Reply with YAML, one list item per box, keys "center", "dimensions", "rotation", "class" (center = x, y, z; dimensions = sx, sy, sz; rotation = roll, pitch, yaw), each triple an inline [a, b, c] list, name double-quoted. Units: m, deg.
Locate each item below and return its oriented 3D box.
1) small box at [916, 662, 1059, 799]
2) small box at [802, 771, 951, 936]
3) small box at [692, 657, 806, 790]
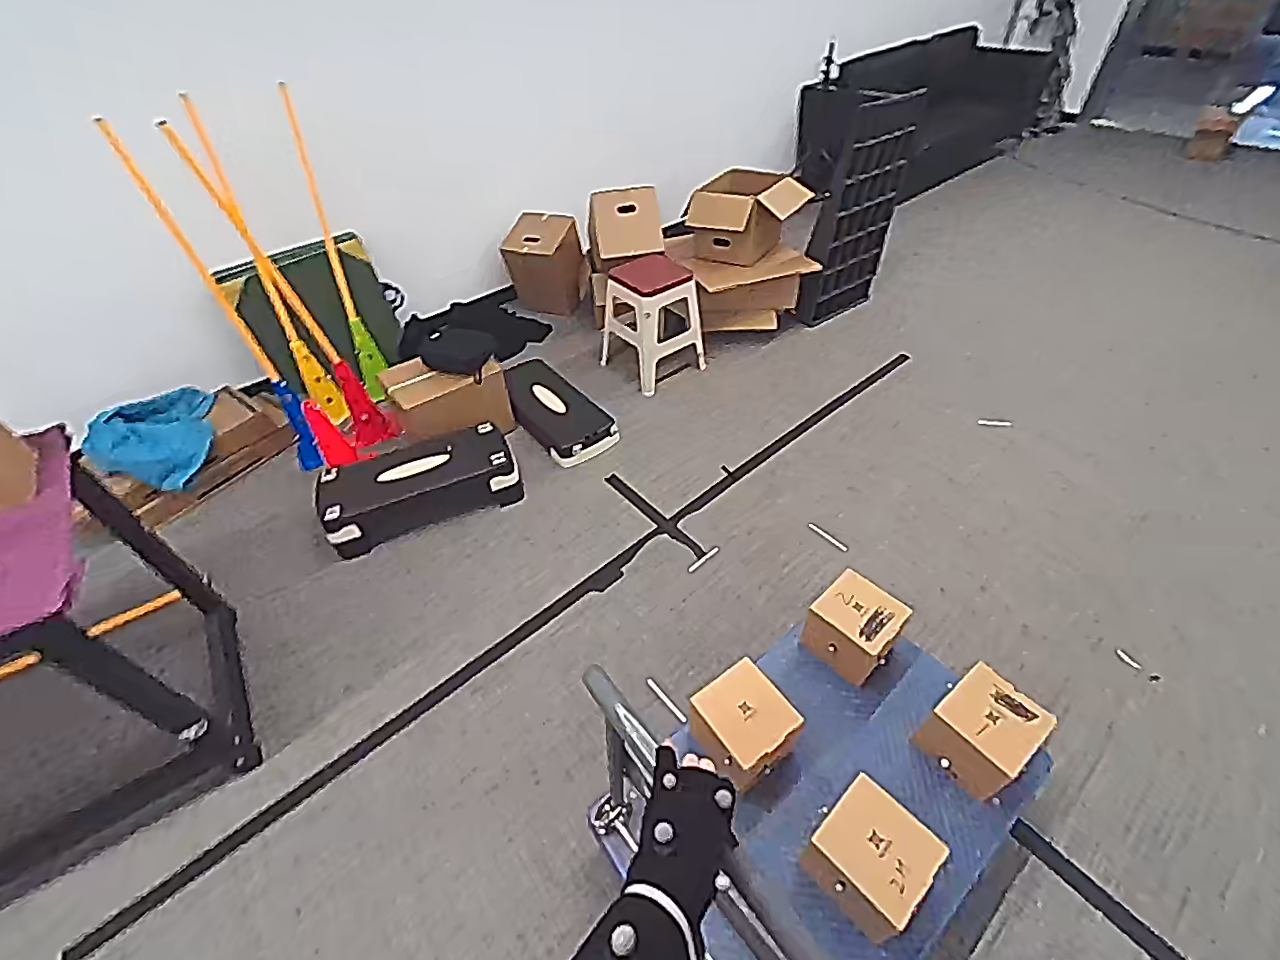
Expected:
- center: [0.720, 0.528, 1.143]
  dimensions: [0.179, 0.176, 0.168]
  rotation: [-30, 51, -23]
  class: "small box"
- center: [0.424, 0.690, 0.998]
  dimensions: [0.168, 0.176, 0.179]
  rotation: [-33, 52, -26]
  class: "small box"
- center: [0.226, 0.529, 1.174]
  dimensions: [0.168, 0.176, 0.179]
  rotation: [-28, 51, -23]
  class: "small box"
